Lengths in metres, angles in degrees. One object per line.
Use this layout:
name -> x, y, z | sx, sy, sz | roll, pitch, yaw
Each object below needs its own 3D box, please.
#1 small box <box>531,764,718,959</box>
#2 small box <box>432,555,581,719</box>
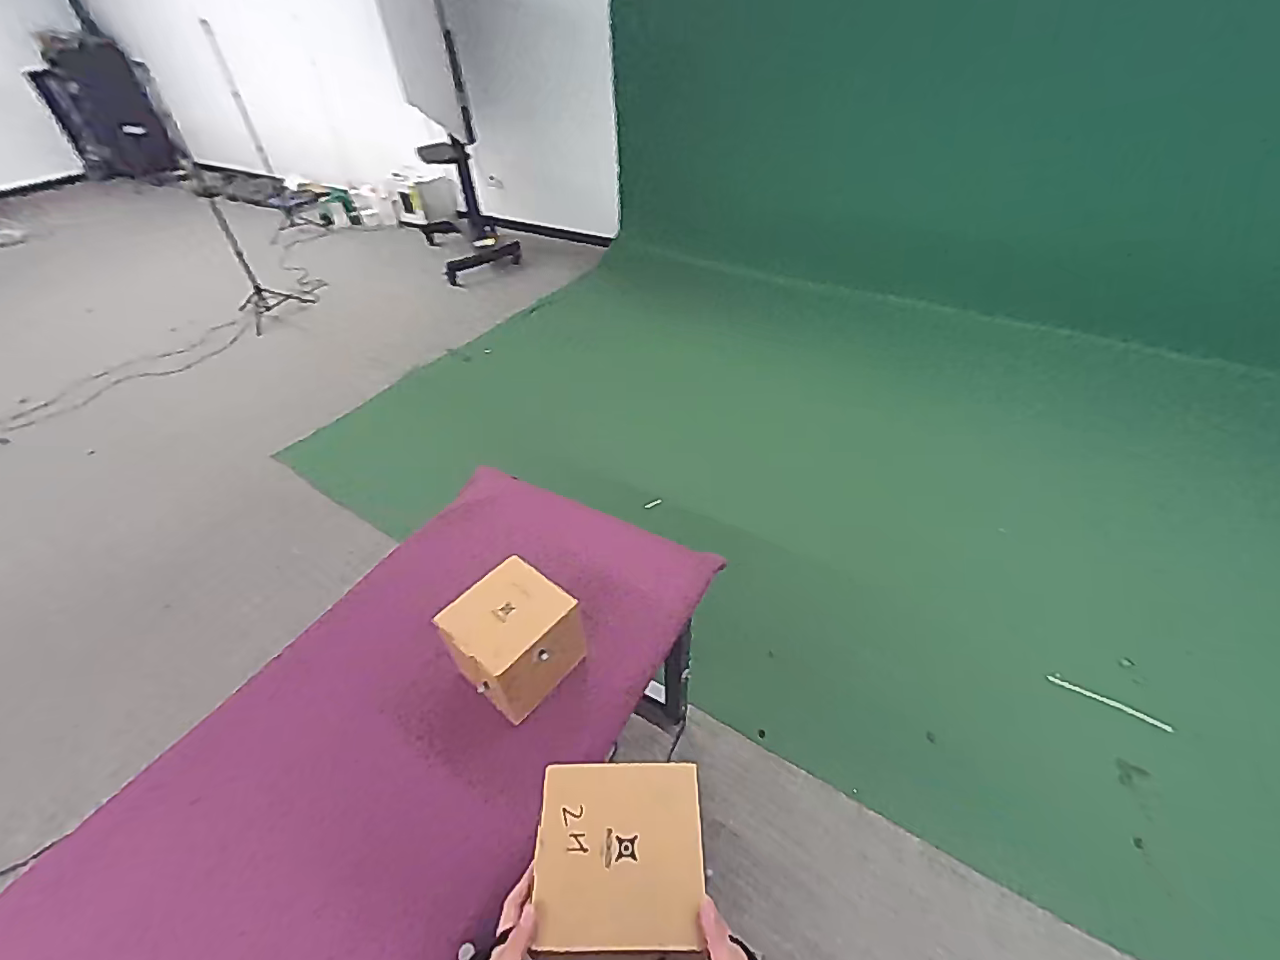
small box -> -0.011, 0.439, 0.611 | 0.179, 0.176, 0.168 | -2, 42, 2
small box -> -0.218, 0.272, 0.932 | 0.168, 0.176, 0.179 | 29, 52, 30
